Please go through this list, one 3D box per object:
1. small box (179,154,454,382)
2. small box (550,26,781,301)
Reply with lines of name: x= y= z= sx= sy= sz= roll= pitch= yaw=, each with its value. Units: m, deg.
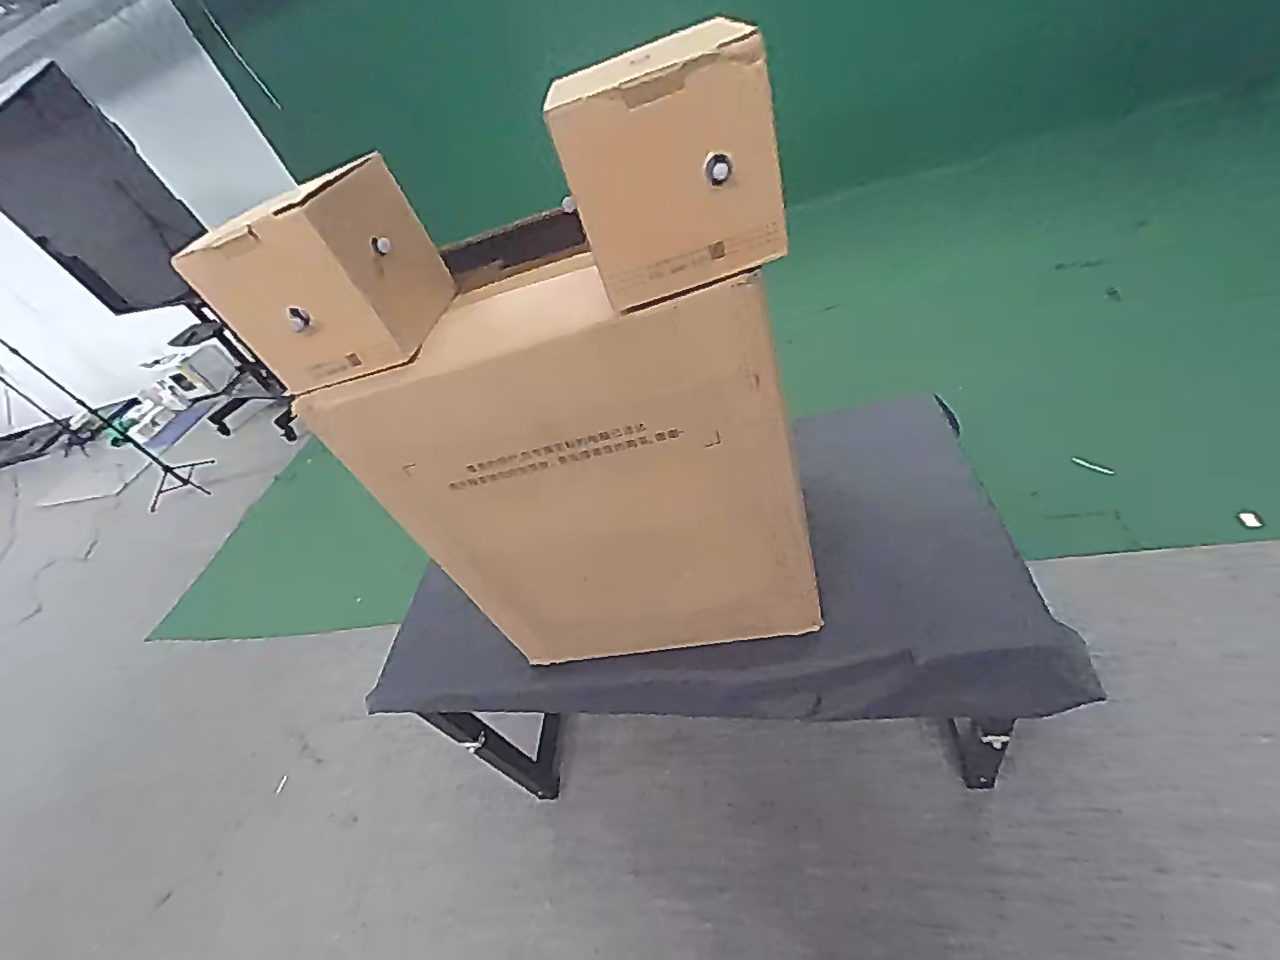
small box: x=-0.340 y=-0.228 z=0.612 sx=0.168 sy=0.176 sz=0.179 roll=-11 pitch=43 yaw=15
small box: x=0.026 y=-0.287 z=0.506 sx=0.168 sy=0.176 sz=0.179 roll=-14 pitch=41 yaw=7
